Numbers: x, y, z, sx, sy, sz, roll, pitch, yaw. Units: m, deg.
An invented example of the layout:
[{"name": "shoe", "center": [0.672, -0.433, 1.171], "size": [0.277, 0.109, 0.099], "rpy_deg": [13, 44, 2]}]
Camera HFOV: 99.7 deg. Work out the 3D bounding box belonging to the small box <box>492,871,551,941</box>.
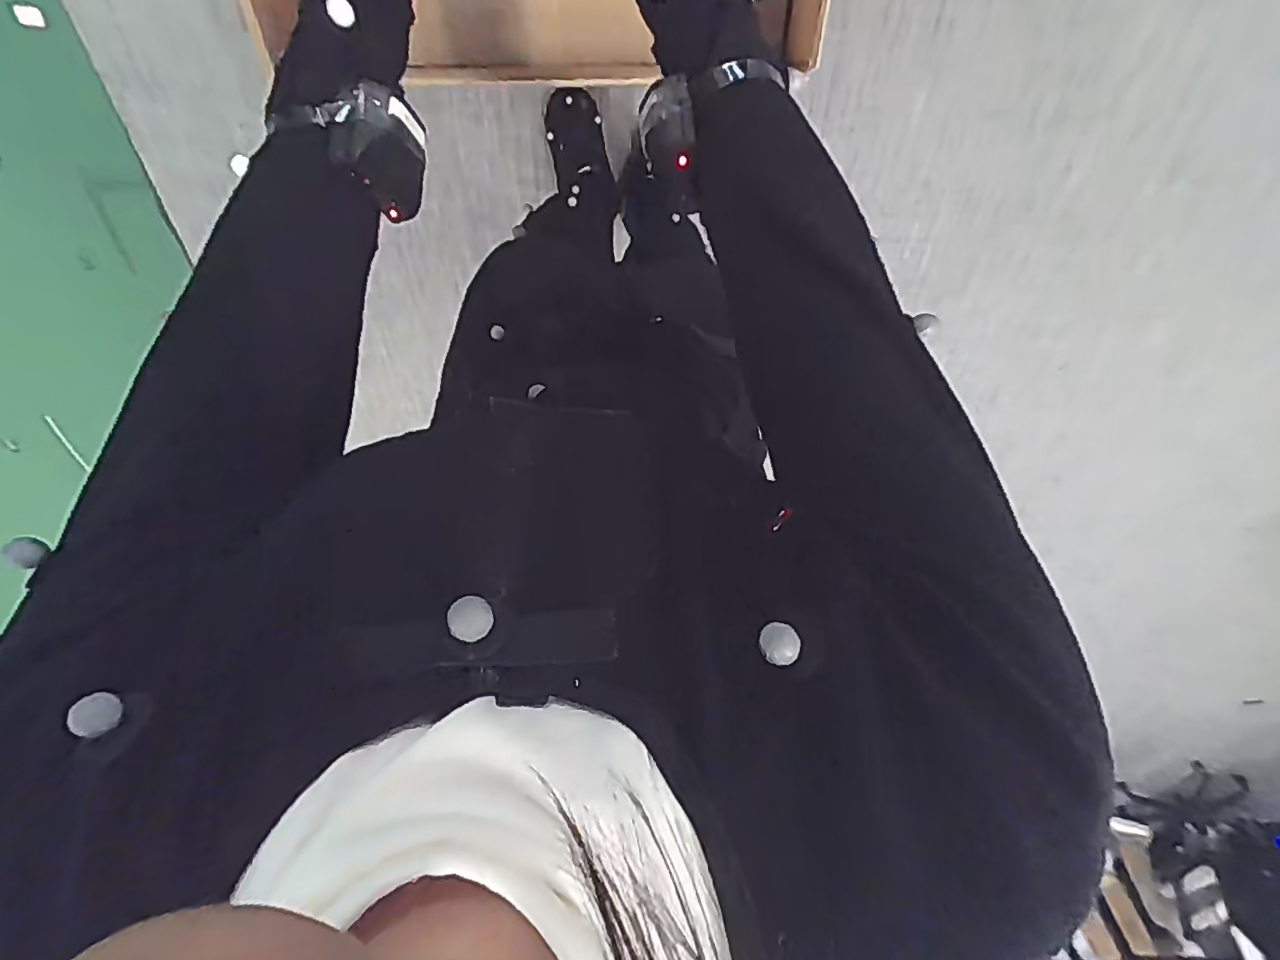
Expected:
[{"name": "small box", "center": [-0.421, 1.539, 1.952], "size": [0.168, 0.176, 0.179], "rpy_deg": [-3, 129, 1]}]
